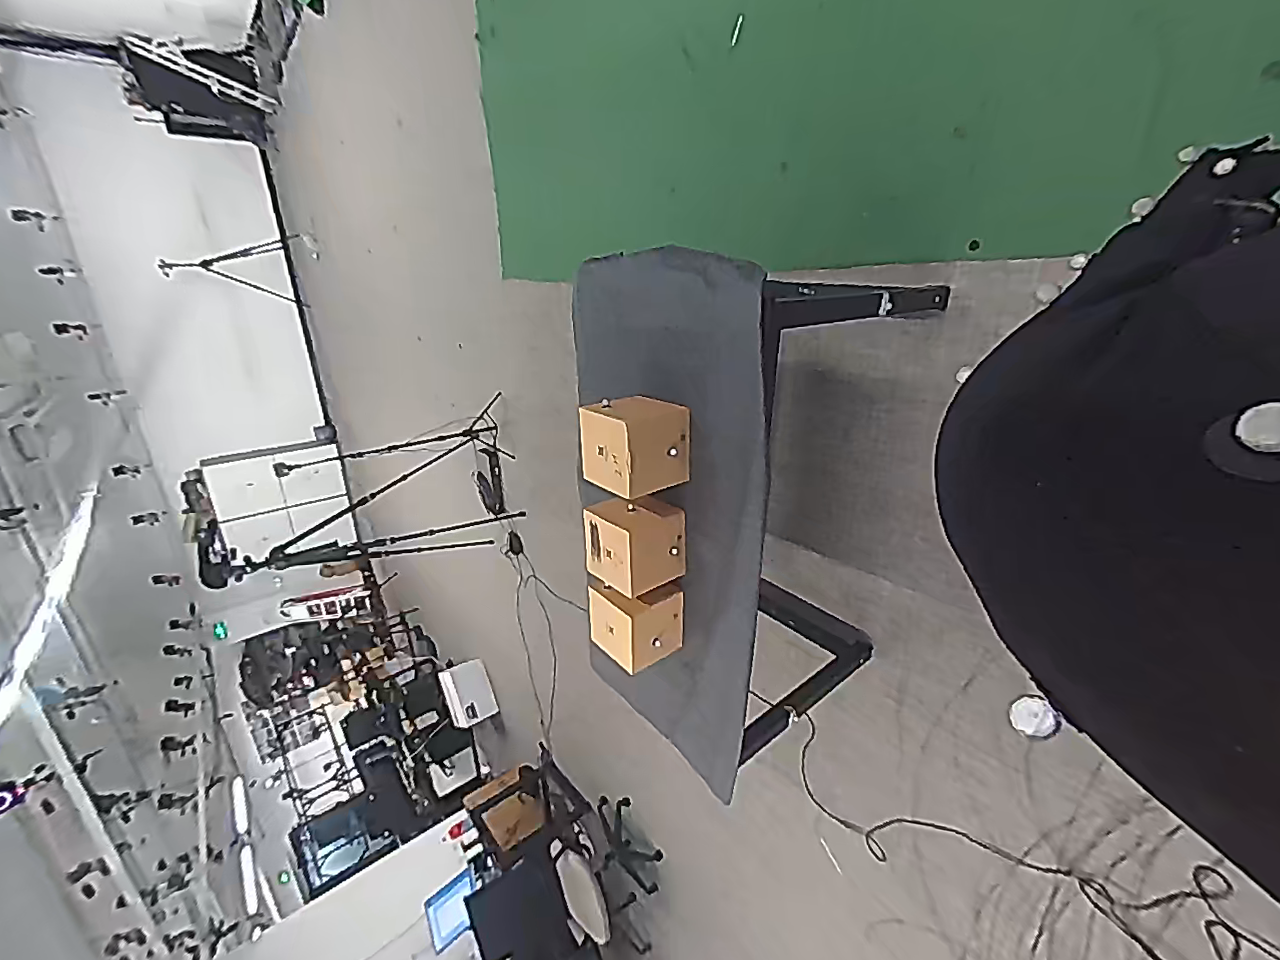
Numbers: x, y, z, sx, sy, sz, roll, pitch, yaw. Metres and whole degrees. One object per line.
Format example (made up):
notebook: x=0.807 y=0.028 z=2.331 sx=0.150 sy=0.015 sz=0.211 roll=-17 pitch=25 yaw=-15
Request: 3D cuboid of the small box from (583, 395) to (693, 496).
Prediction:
small box: x=-0.006 y=-0.084 z=1.173 sx=0.179 sy=0.176 sz=0.168 roll=23 pitch=122 yaw=47
